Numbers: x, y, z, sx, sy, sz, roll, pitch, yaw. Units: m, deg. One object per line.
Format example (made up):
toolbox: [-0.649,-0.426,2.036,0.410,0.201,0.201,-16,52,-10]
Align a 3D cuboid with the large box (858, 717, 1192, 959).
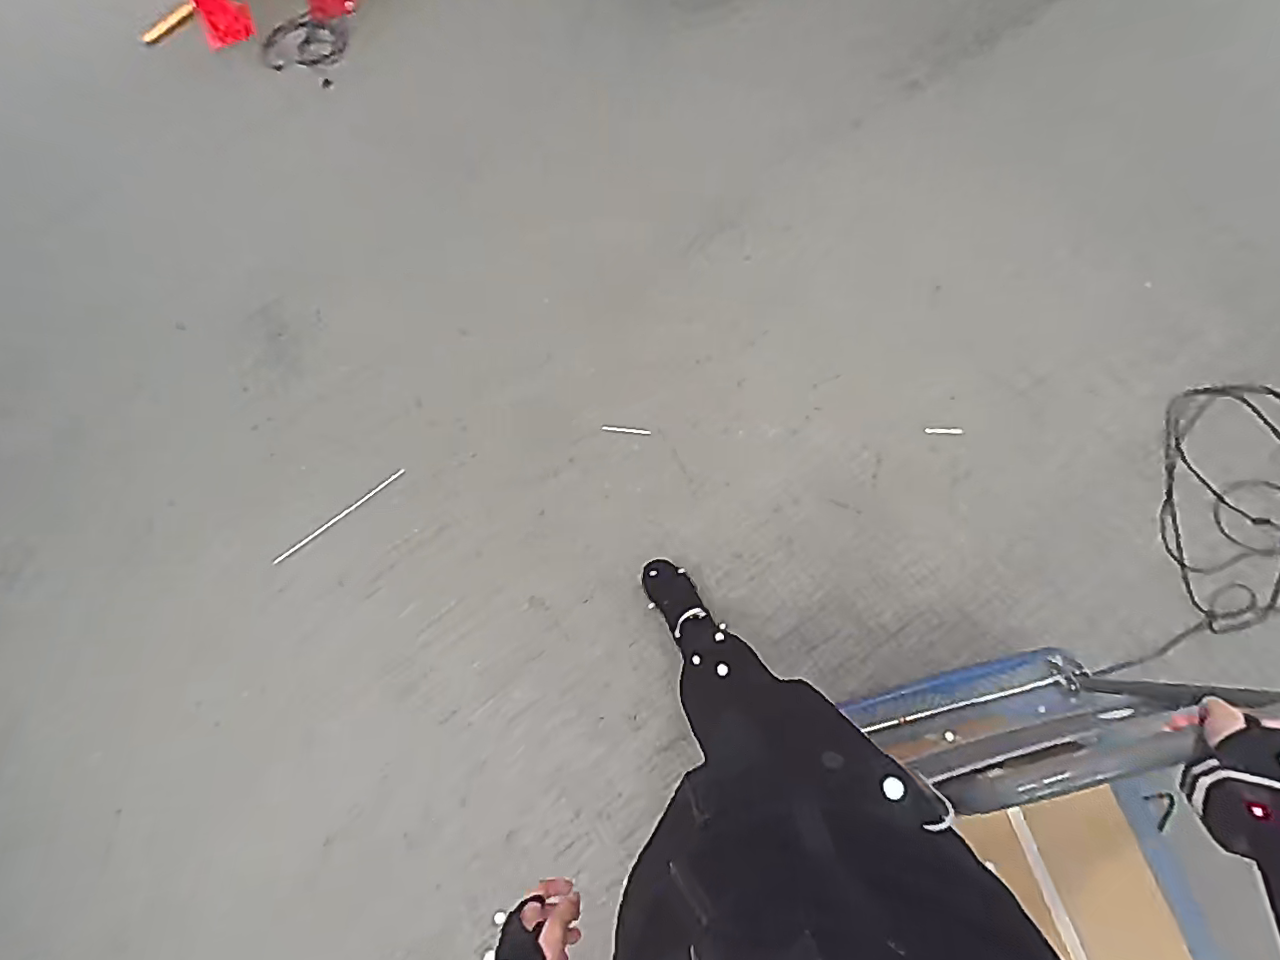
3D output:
large box: [0.654,0.699,0.969,0.320,0.320,0.408,-18,75,2]
